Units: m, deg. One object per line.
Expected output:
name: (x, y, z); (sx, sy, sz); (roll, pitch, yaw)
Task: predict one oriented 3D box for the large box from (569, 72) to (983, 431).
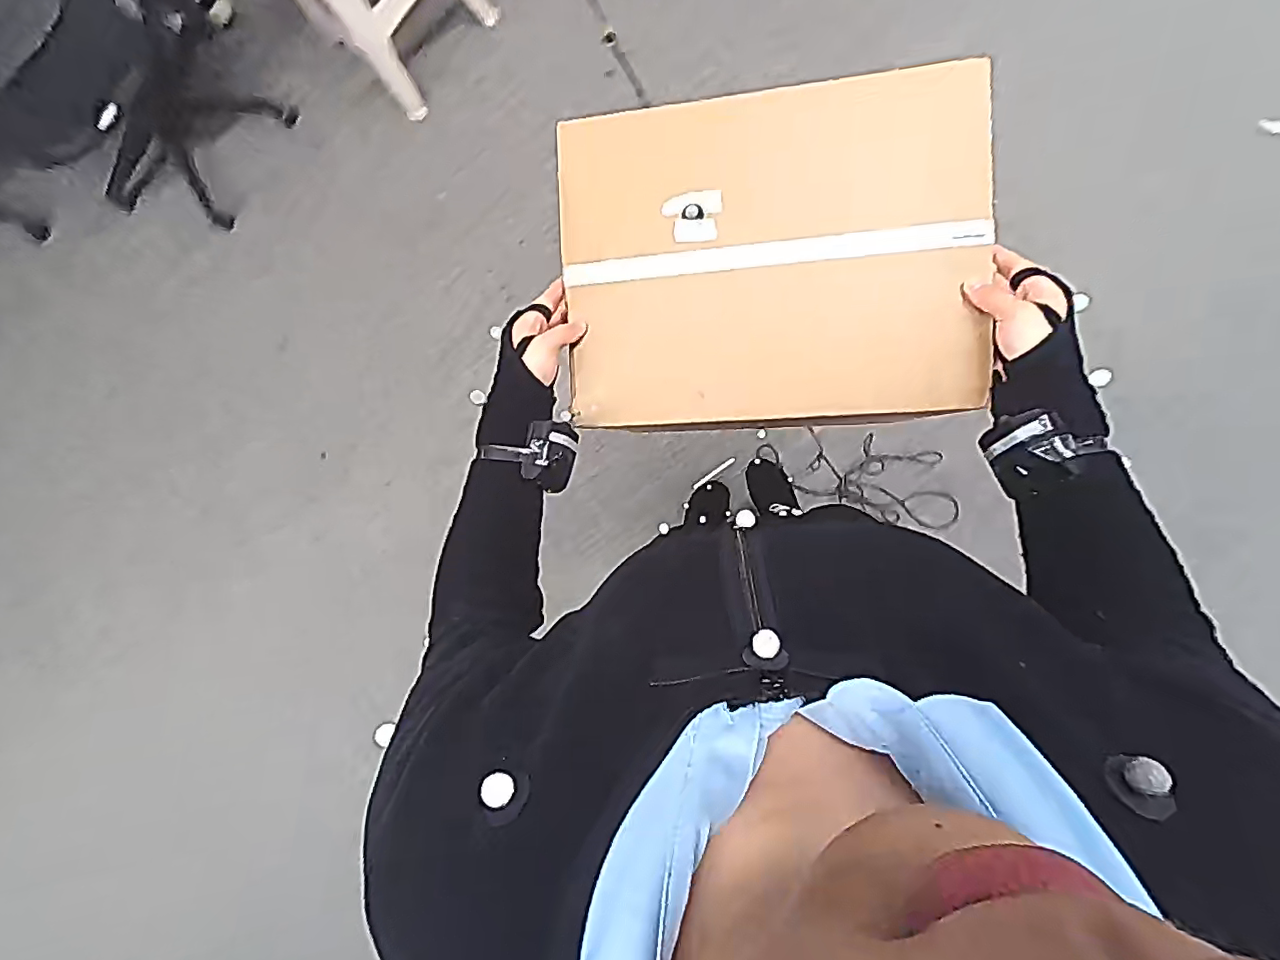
large box: (0.154, -0.227, 0.686); (0.408, 0.320, 0.320); (-1, 93, 11)
